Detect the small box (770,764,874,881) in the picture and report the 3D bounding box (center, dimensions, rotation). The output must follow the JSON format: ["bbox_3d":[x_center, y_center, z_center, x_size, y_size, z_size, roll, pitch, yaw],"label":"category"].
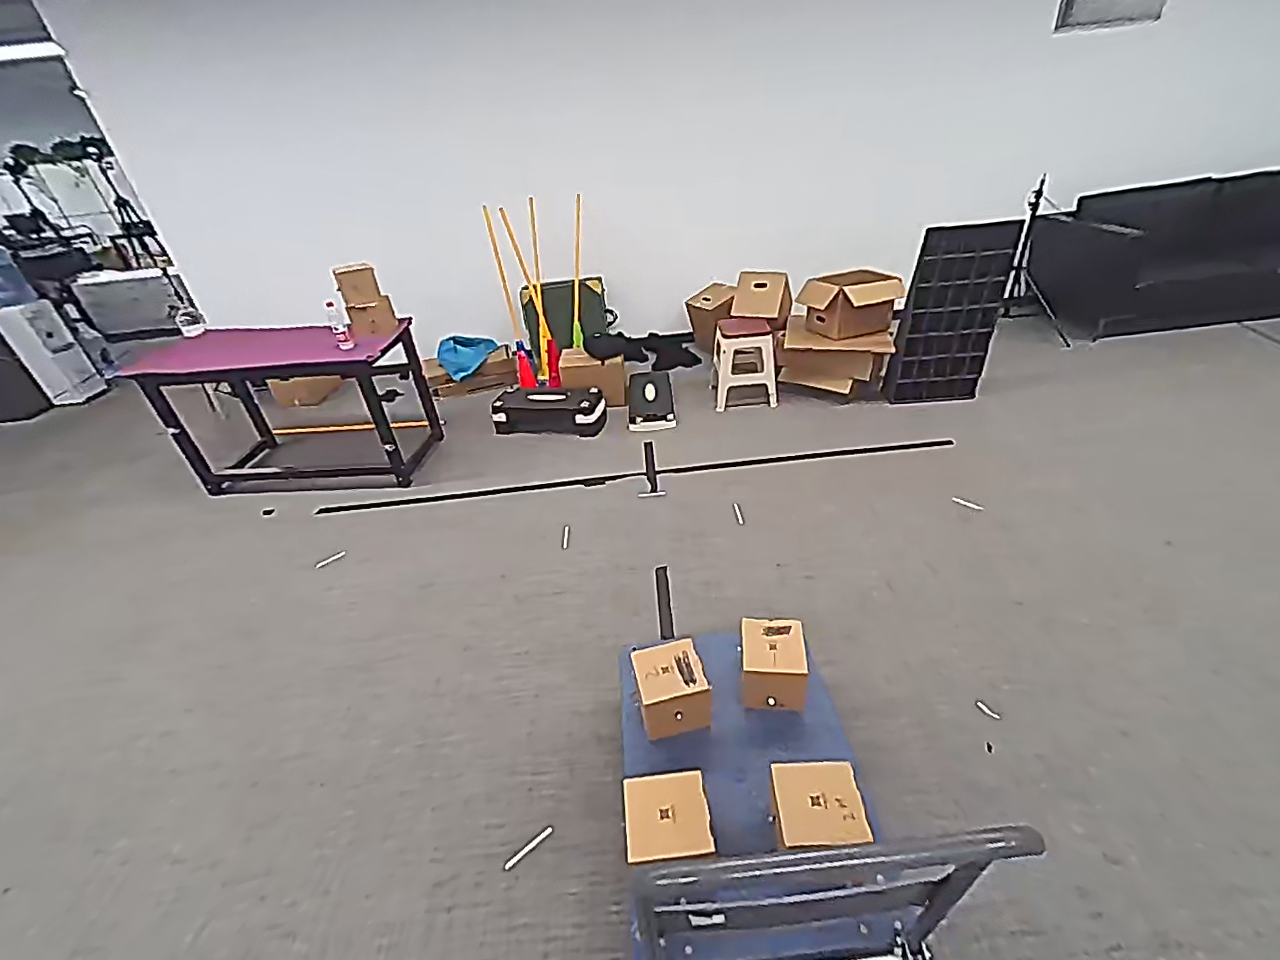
[{"bbox_3d":[0.380,0.737,1.162,0.179,0.176,0.168,-4,34,4],"label":"small box"}]

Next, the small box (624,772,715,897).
[{"bbox_3d":[0.063,0.767,1.169,0.179,0.176,0.168,-6,34,-2],"label":"small box"}]

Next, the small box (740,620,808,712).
[{"bbox_3d":[0.365,0.512,1.495,0.168,0.176,0.179,0,35,9],"label":"small box"}]
